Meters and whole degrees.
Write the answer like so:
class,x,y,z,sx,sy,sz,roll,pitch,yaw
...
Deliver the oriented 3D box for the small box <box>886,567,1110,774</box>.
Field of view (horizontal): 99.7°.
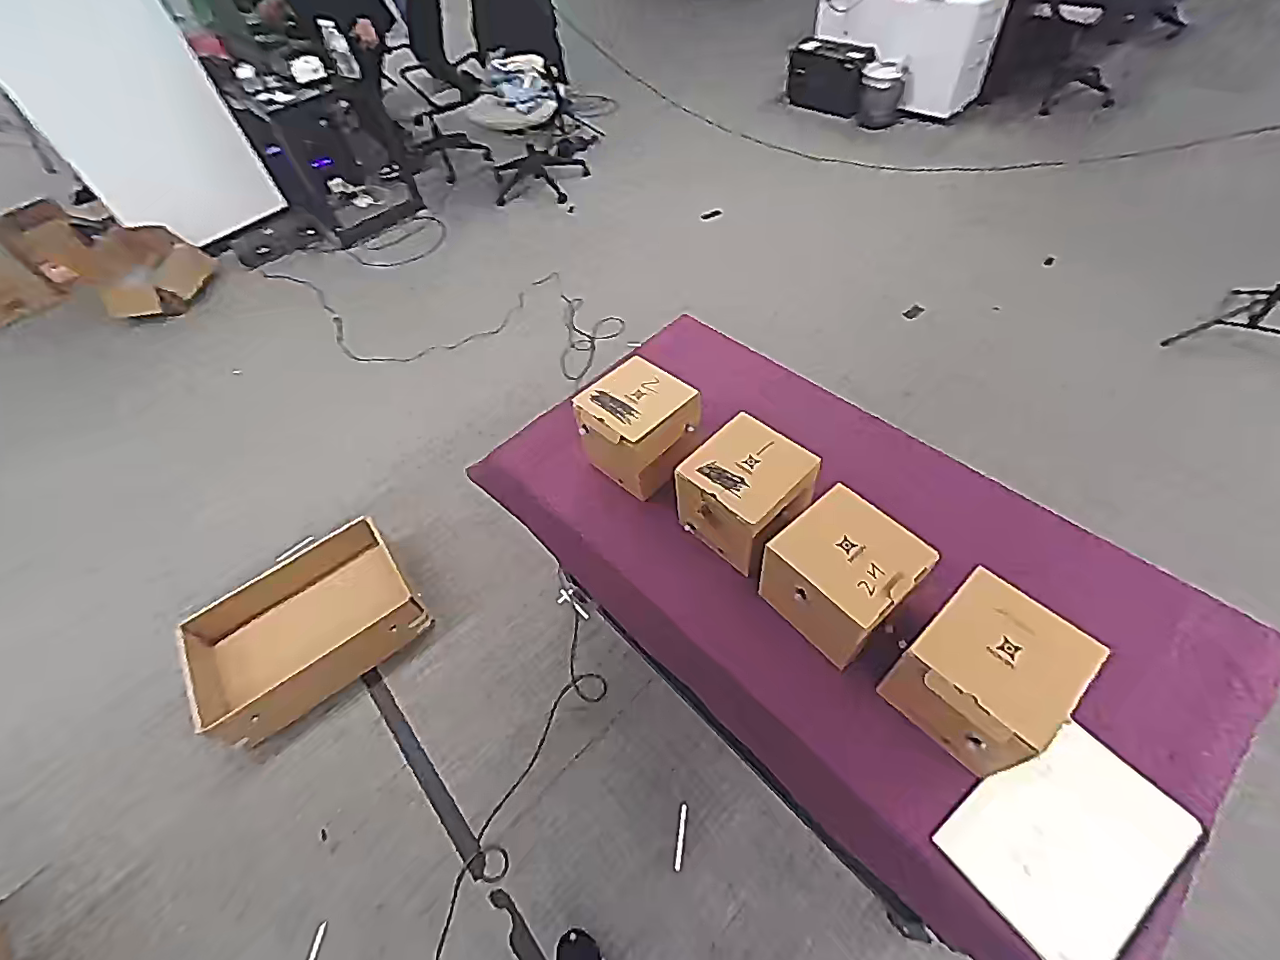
class,x,y,z,sx,sy,sz,roll,pitch,yaw
small box,0.458,0.258,0.723,0.179,0.176,0.168,-37,58,-20
